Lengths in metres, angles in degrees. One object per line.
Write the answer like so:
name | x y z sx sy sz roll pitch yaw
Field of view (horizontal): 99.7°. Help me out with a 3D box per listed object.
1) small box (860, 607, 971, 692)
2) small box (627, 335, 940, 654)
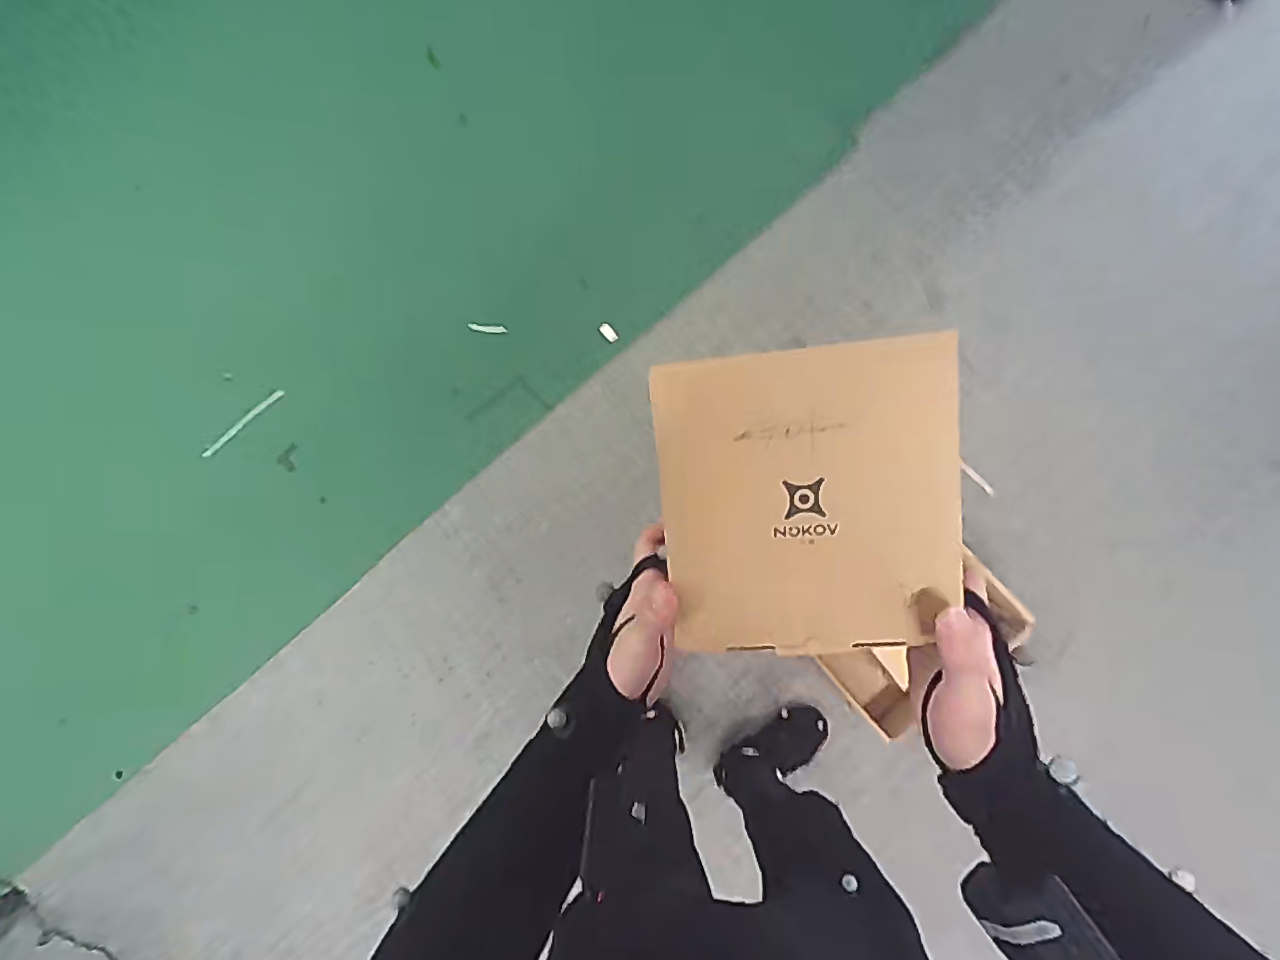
small box | 0.569 0.329 1.187 0.168 0.176 0.179 -36 75 1
small box | 0.093 0.003 0.384 0.168 0.176 0.179 -6 97 9
